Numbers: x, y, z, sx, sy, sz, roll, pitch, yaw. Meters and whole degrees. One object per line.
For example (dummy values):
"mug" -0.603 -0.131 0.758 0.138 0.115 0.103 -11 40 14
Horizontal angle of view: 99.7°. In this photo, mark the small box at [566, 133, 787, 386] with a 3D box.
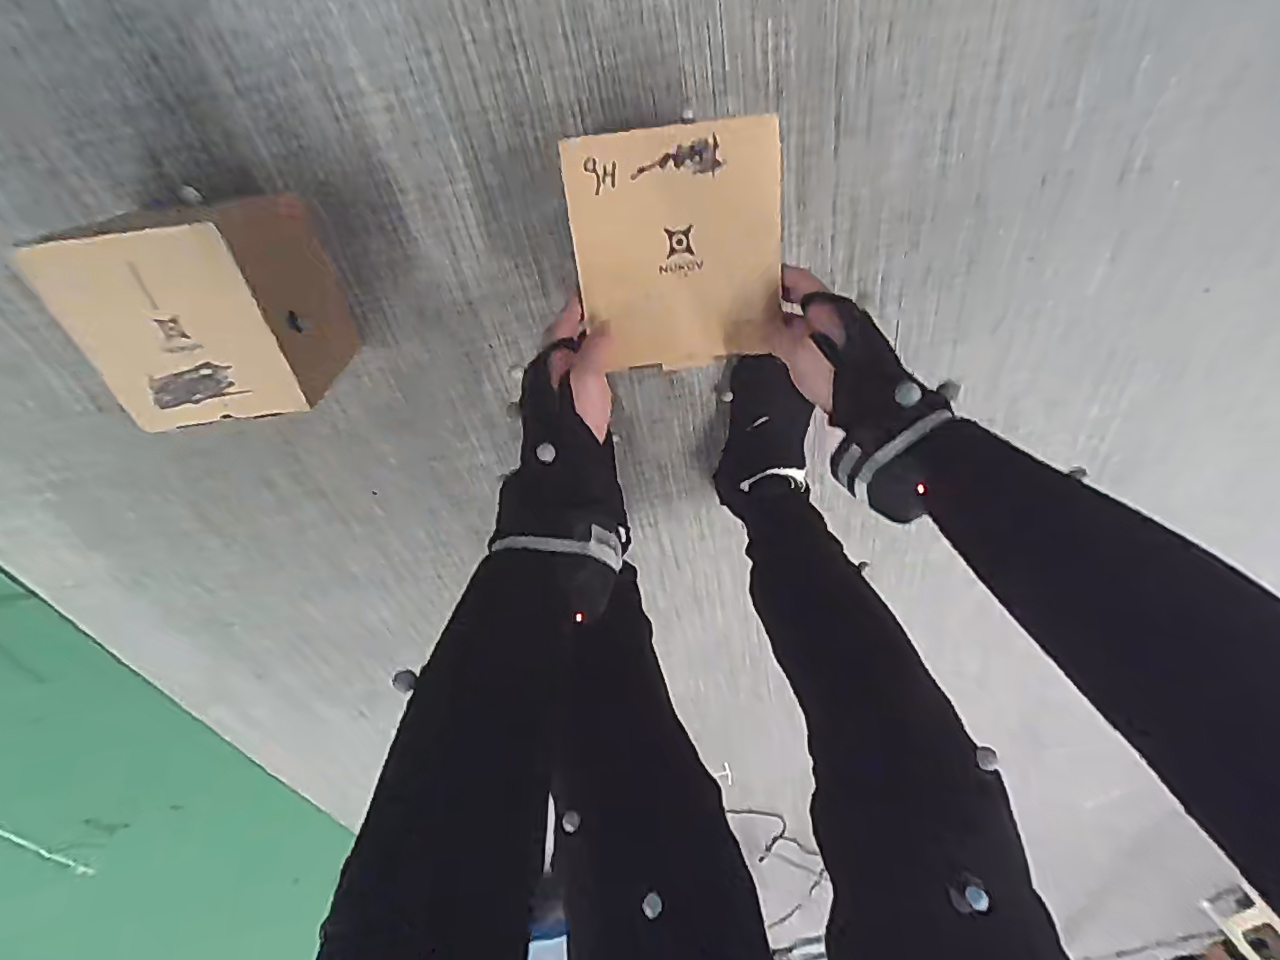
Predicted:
"small box" 0.030 -0.199 0.502 0.168 0.176 0.179 -7 113 -1

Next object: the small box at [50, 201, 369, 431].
"small box" -0.414 -0.176 0.567 0.168 0.176 0.179 -9 125 -2
